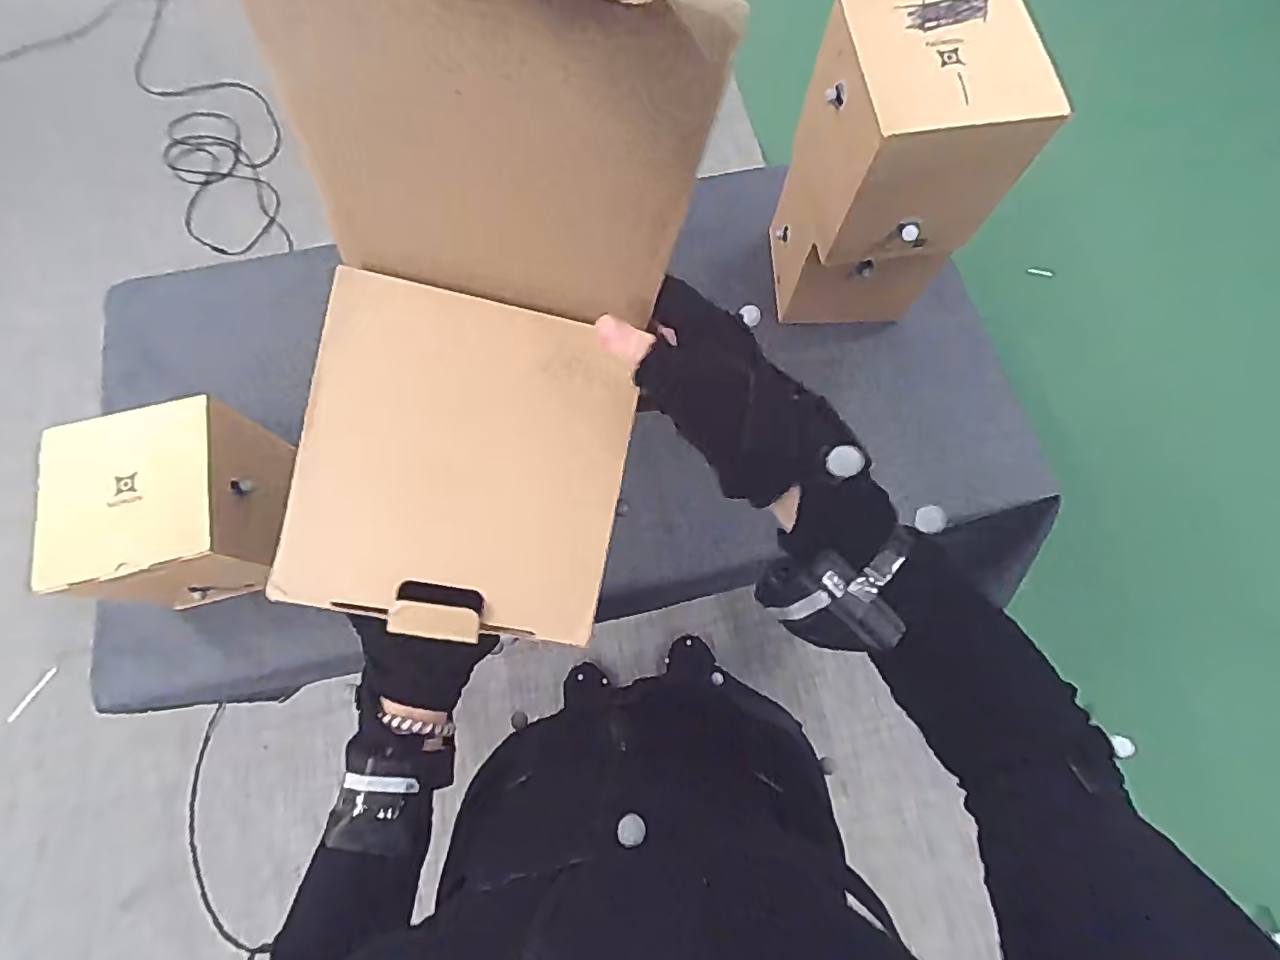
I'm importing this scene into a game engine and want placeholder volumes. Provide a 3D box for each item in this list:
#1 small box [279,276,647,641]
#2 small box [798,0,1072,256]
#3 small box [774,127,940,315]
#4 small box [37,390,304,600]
[{"bbox_3d":[-0.102,-0.003,0.370,0.168,0.176,0.179,11,81,-9],"label":"small box"},{"bbox_3d":[0.274,-0.362,0.552,0.168,0.176,0.179,-7,74,-1],"label":"small box"},{"bbox_3d":[0.281,-0.334,0.715,0.179,0.176,0.168,-1,74,0],"label":"small box"},{"bbox_3d":[-0.506,0.026,0.613,0.168,0.176,0.179,-14,74,-4],"label":"small box"}]
